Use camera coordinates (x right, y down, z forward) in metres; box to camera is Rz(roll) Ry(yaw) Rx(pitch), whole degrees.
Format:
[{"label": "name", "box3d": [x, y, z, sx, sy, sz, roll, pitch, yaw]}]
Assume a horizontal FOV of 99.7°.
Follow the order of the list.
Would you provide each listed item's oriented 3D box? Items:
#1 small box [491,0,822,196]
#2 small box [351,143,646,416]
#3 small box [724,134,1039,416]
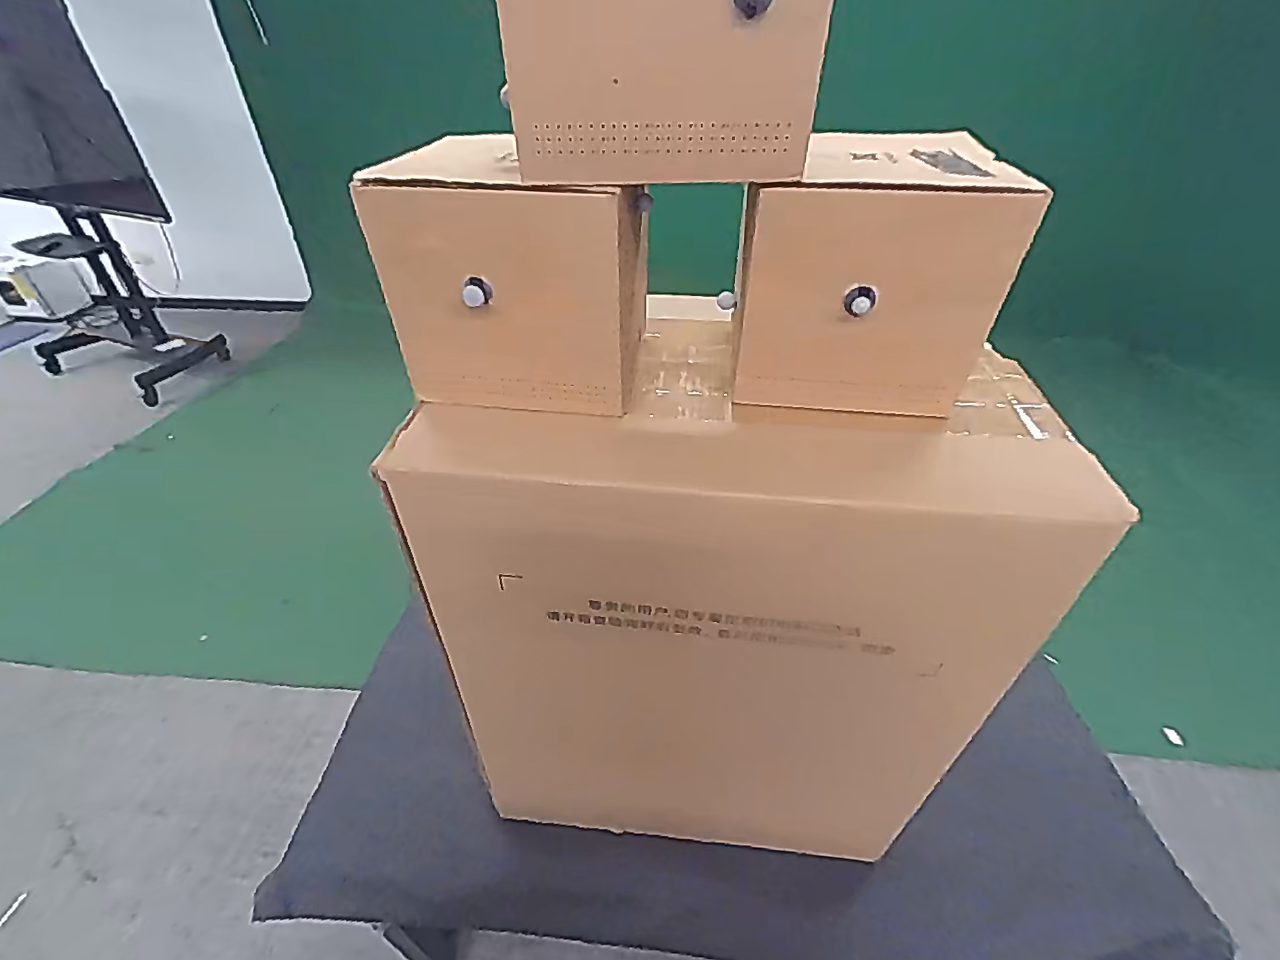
[{"label": "small box", "box3d": [0.007, -0.288, 0.339, 0.179, 0.176, 0.168, -3, 40, -2]}, {"label": "small box", "box3d": [-0.091, -0.168, 0.450, 0.179, 0.176, 0.168, 5, 42, 6]}, {"label": "small box", "box3d": [0.167, -0.167, 0.444, 0.179, 0.176, 0.168, 4, 42, 6]}]
